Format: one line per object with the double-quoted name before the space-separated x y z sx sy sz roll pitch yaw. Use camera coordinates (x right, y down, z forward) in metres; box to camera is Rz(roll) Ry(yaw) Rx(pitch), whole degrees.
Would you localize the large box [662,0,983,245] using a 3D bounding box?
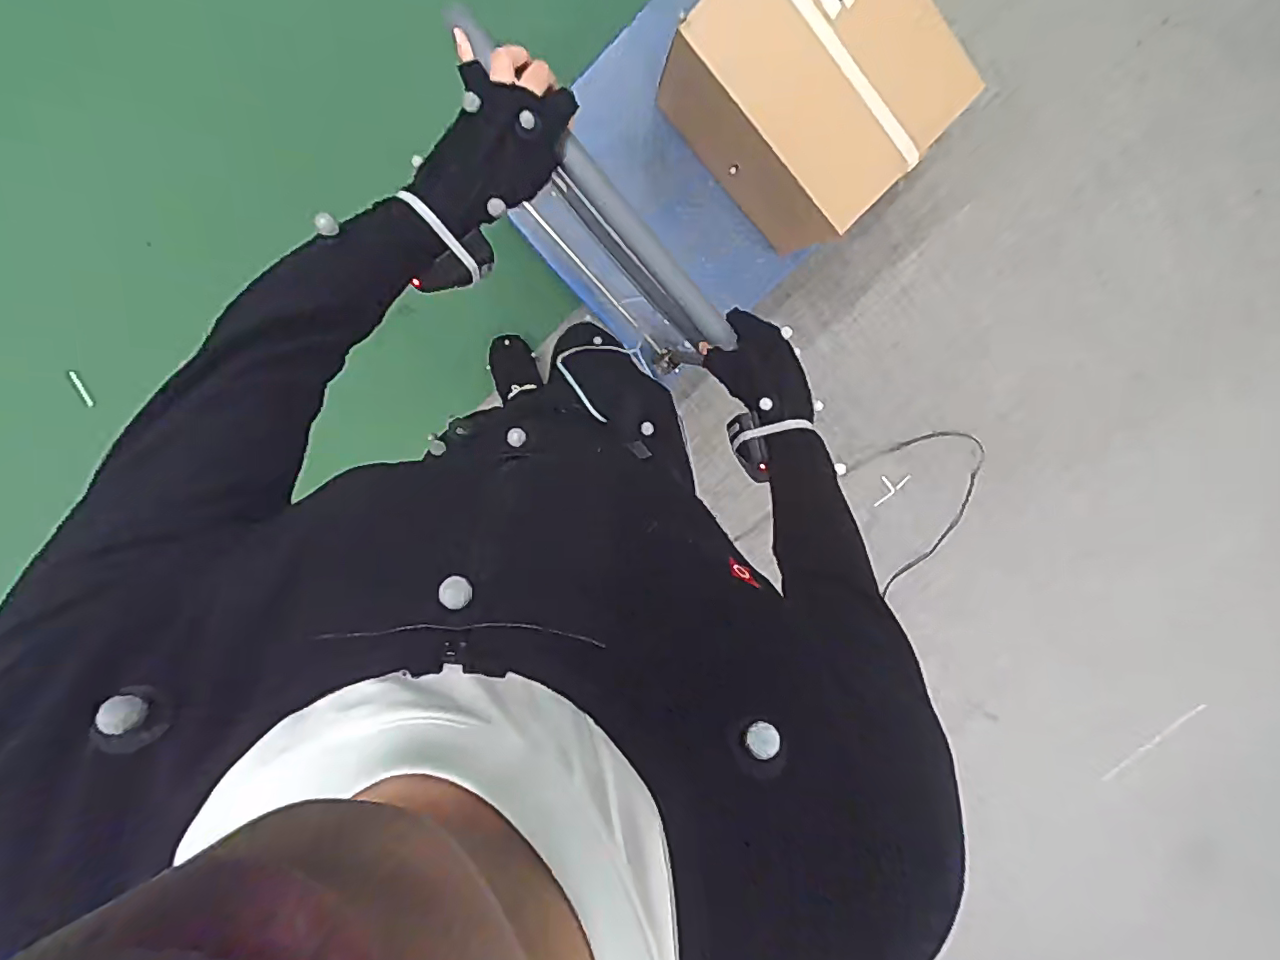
"large box" 0.296 -0.704 0.981 0.408 0.320 0.320 43 99 -15
